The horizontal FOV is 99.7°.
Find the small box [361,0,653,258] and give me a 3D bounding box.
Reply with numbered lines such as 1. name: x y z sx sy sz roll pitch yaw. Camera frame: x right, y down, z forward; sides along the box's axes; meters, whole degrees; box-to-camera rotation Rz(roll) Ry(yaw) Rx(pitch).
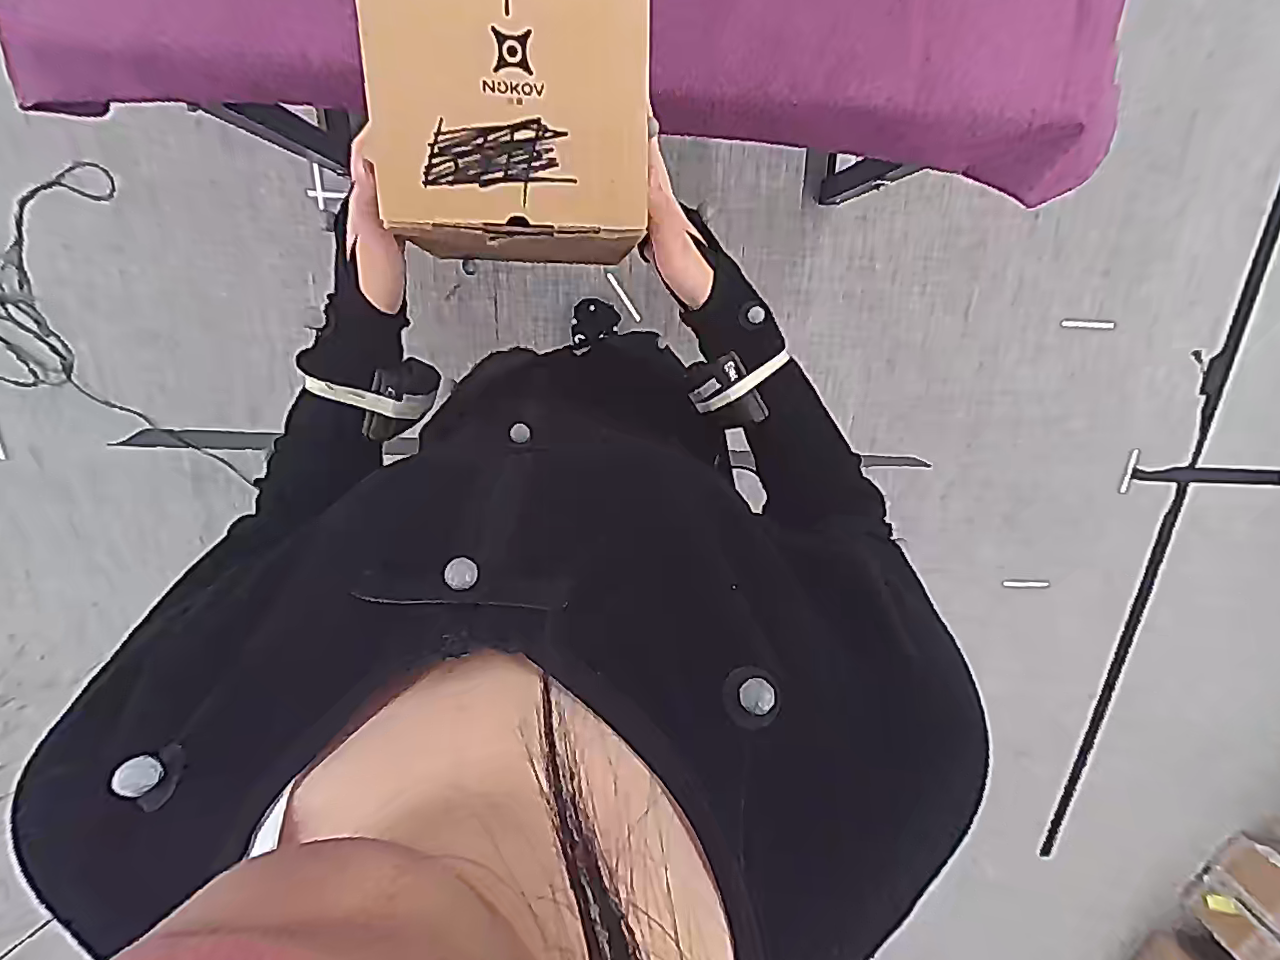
1. small box: -0.085 -0.265 0.391 0.168 0.176 0.179 -1 104 -9

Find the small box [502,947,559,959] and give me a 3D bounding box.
1. small box: -0.333 1.531 1.602 0.179 0.176 0.168 0 107 -3
